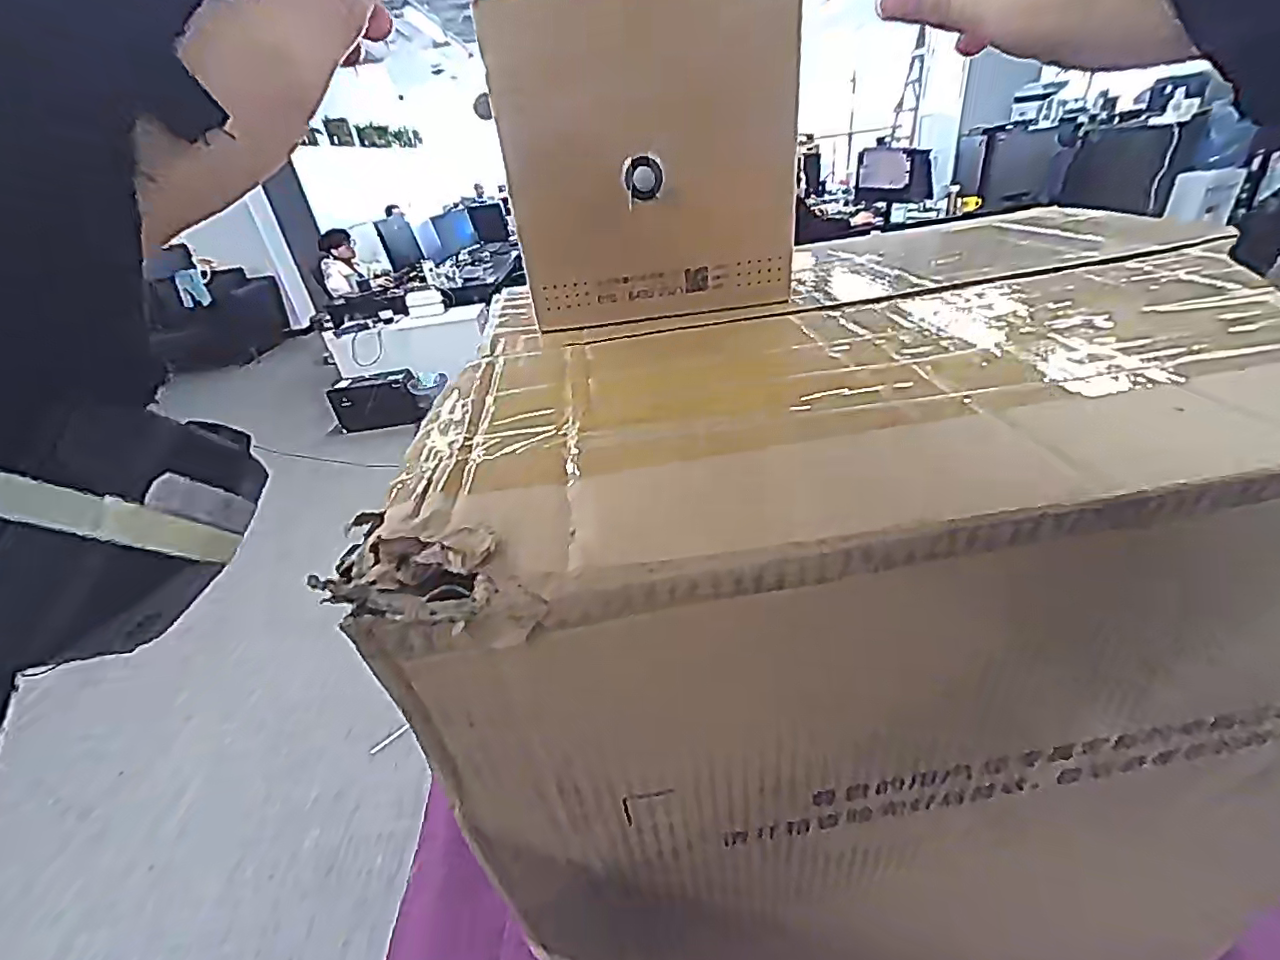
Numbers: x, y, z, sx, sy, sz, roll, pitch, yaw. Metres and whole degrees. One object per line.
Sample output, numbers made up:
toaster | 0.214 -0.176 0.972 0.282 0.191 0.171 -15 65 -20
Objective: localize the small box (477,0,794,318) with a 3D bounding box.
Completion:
small box | 0.004 -0.218 0.377 0.168 0.176 0.179 -7 31 0
